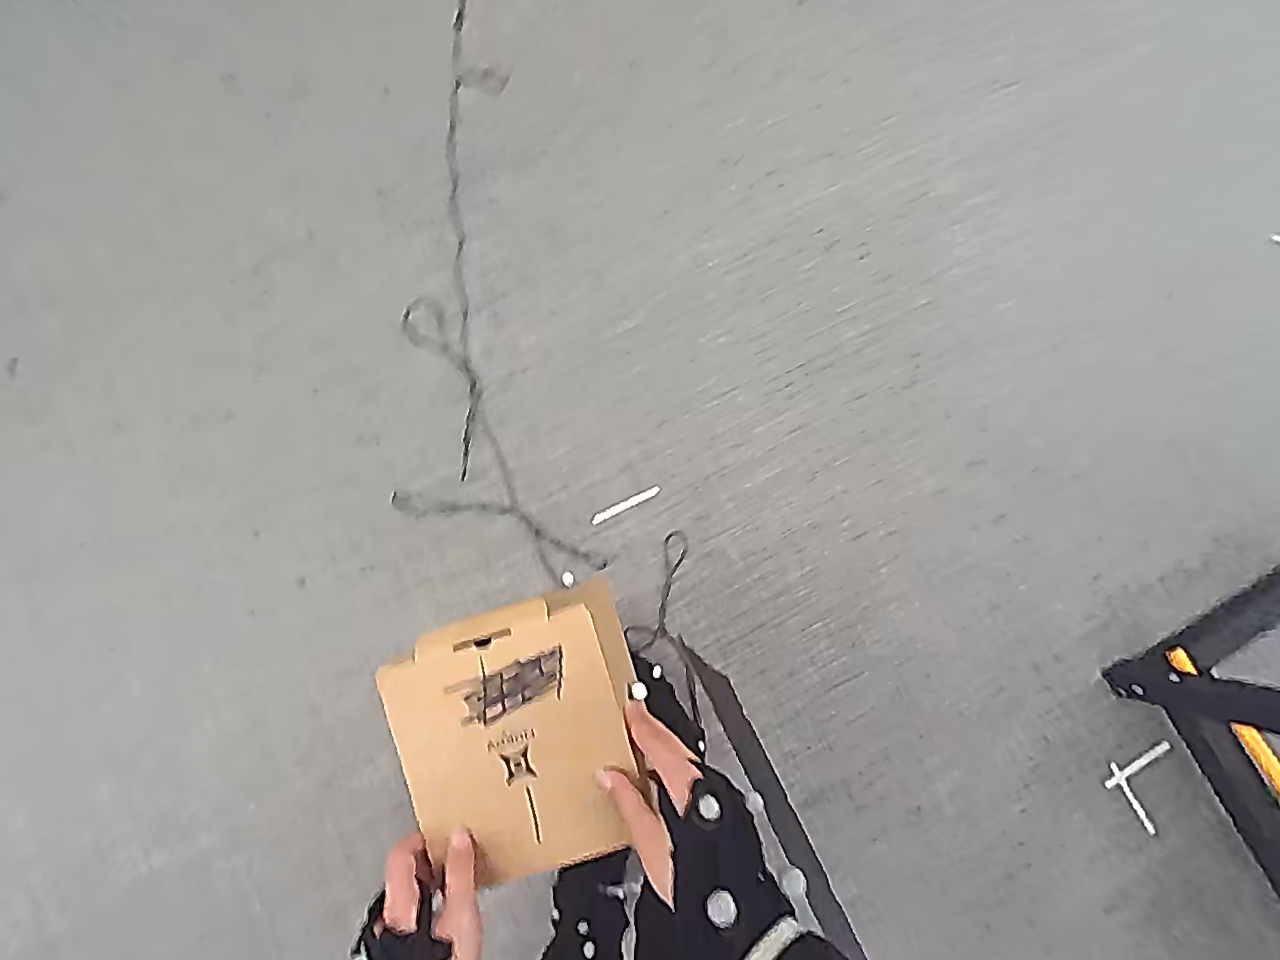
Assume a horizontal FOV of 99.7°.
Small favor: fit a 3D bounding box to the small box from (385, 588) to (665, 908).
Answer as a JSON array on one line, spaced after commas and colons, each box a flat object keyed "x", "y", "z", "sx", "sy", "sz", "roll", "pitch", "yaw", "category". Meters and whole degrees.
[{"x": -0.083, "y": 0.201, "z": 0.466, "sx": 0.168, "sy": 0.176, "sz": 0.179, "roll": -17, "pitch": 89, "yaw": 1, "category": "small box"}]
